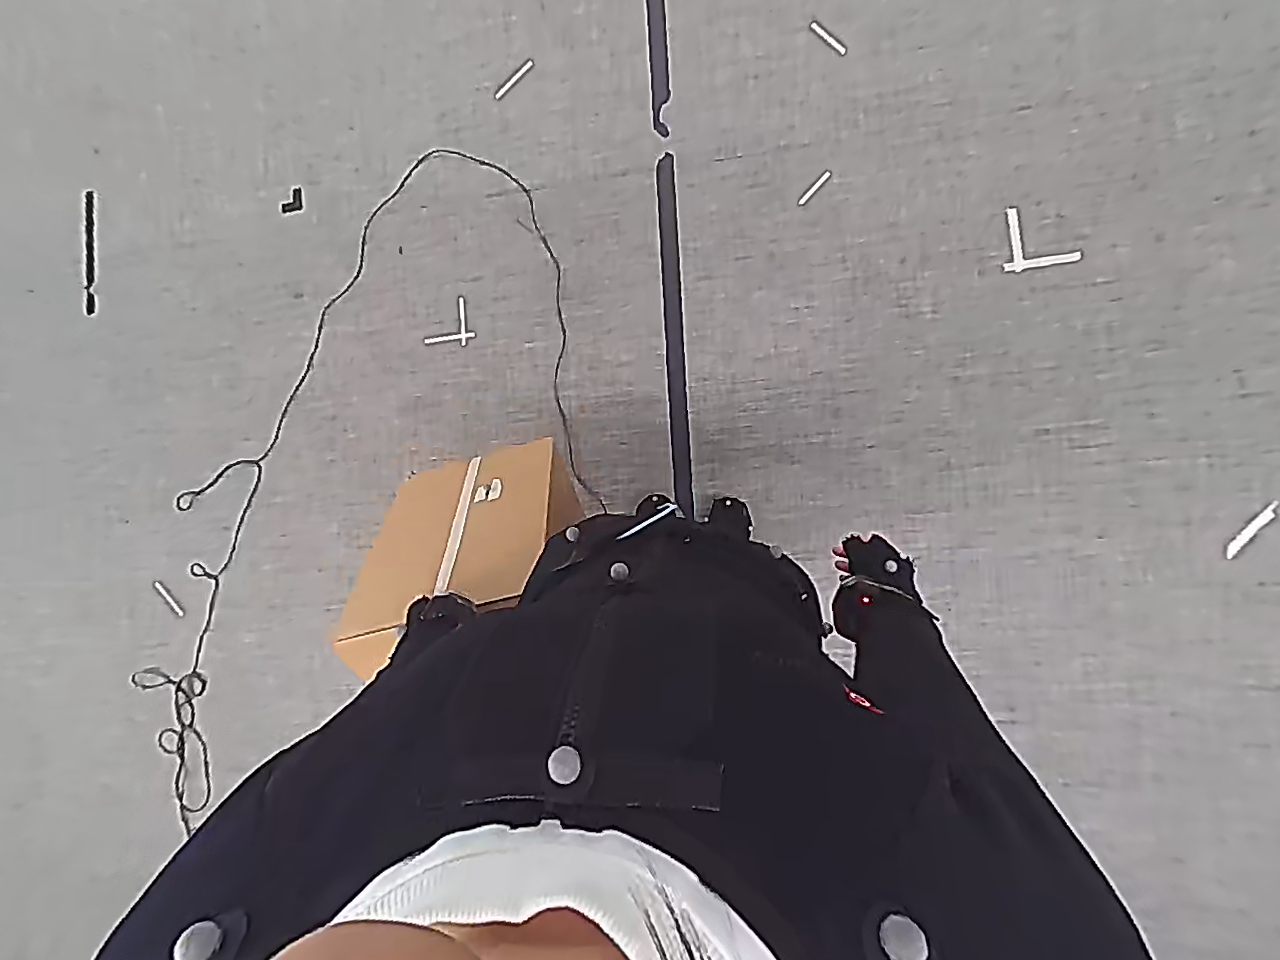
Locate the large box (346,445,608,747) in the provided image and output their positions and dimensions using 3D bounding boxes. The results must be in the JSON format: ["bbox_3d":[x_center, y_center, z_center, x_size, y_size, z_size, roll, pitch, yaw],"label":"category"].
[{"bbox_3d":[-0.256,0.198,0.998,0.320,0.408,0.320,-14,125,4],"label":"large box"}]
